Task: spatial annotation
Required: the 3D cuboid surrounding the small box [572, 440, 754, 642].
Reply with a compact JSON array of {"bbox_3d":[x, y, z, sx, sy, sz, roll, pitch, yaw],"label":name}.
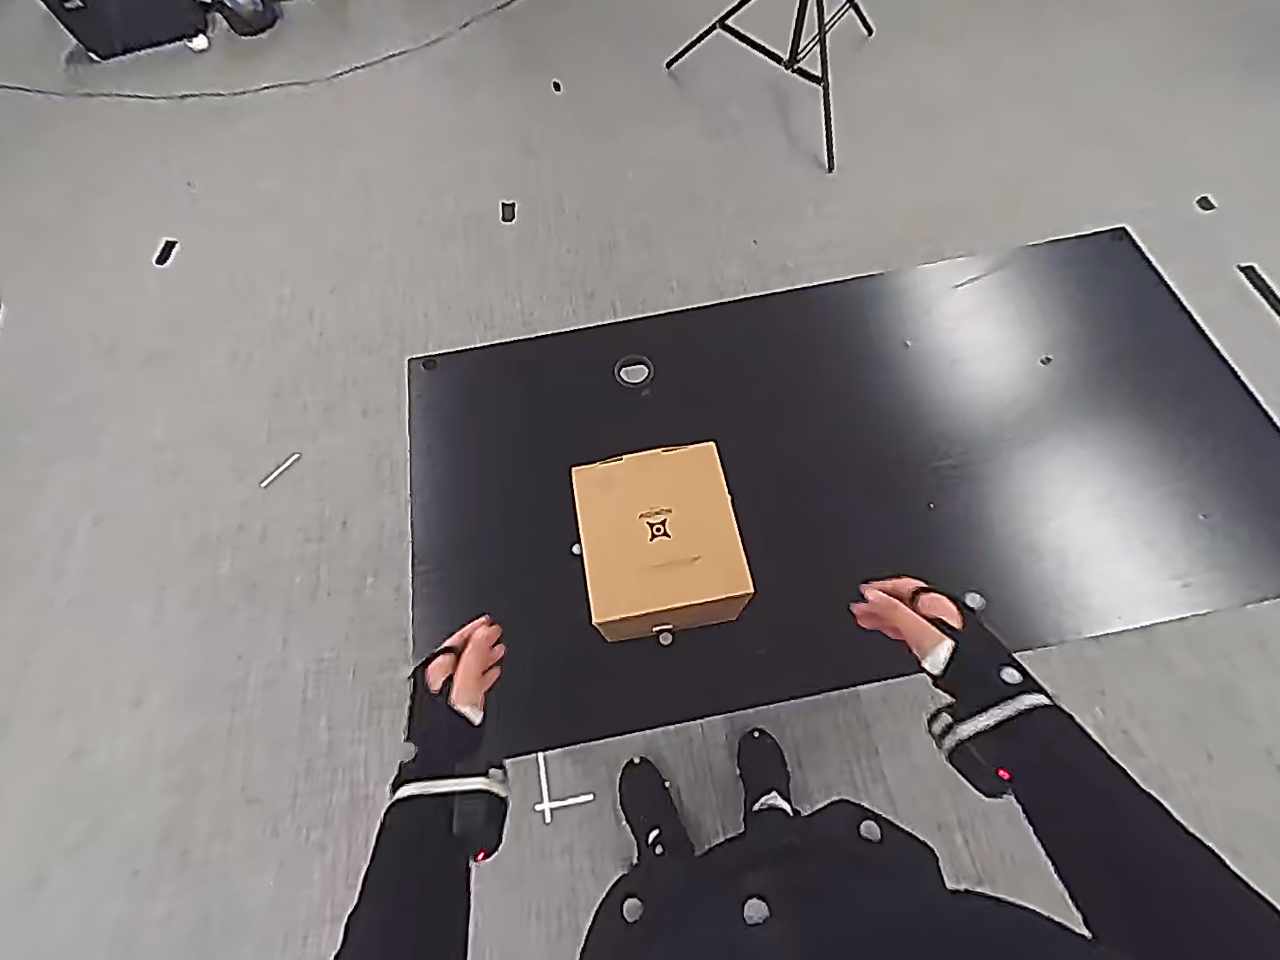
[{"bbox_3d":[0.022,0.079,0.635,0.168,0.176,0.179,-11,67,-1],"label":"small box"}]
